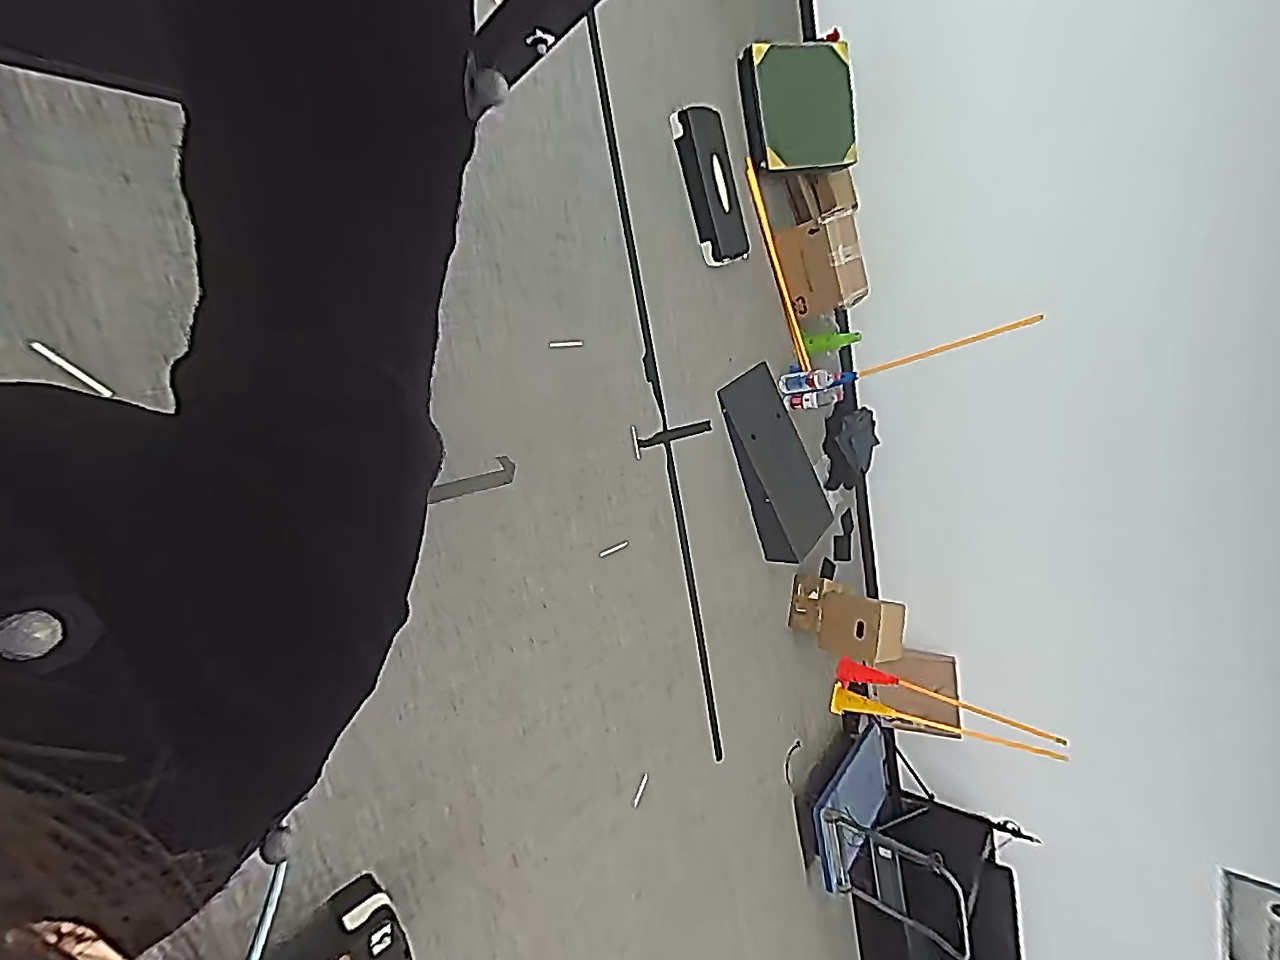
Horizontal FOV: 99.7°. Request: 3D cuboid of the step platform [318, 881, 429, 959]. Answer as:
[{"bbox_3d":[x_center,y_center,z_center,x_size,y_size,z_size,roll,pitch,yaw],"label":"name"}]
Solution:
[{"bbox_3d":[-0.824,1.254,1.192,0.684,0.204,0.286,-11,96,-47],"label":"step platform"}]
